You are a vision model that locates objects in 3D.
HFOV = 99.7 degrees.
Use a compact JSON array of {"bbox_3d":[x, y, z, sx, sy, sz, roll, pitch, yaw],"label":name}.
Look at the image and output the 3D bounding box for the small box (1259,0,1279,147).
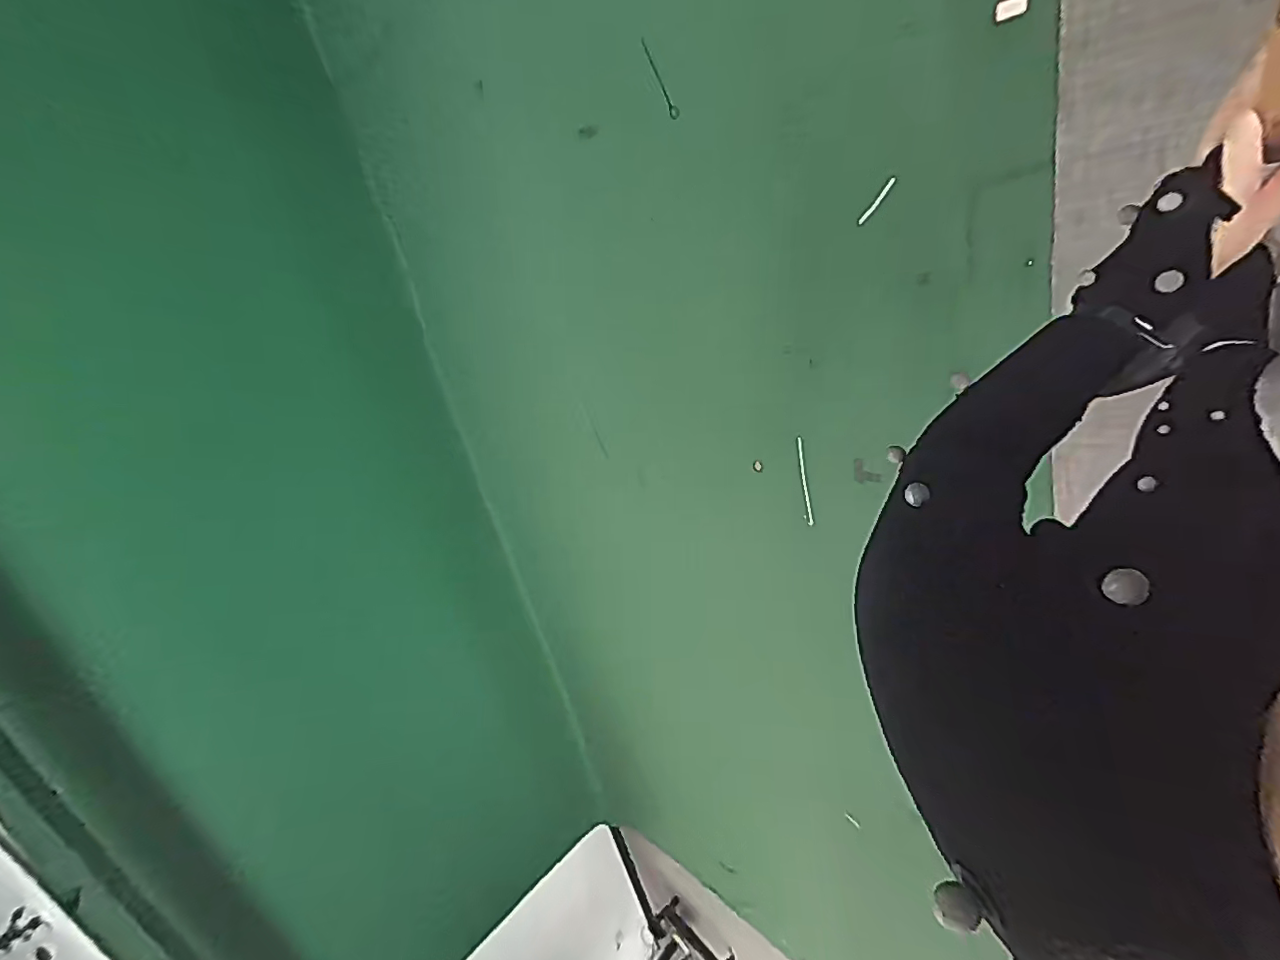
[{"bbox_3d":[0.470,-0.308,0.280,0.179,0.176,0.168,15,99,46],"label":"small box"}]
